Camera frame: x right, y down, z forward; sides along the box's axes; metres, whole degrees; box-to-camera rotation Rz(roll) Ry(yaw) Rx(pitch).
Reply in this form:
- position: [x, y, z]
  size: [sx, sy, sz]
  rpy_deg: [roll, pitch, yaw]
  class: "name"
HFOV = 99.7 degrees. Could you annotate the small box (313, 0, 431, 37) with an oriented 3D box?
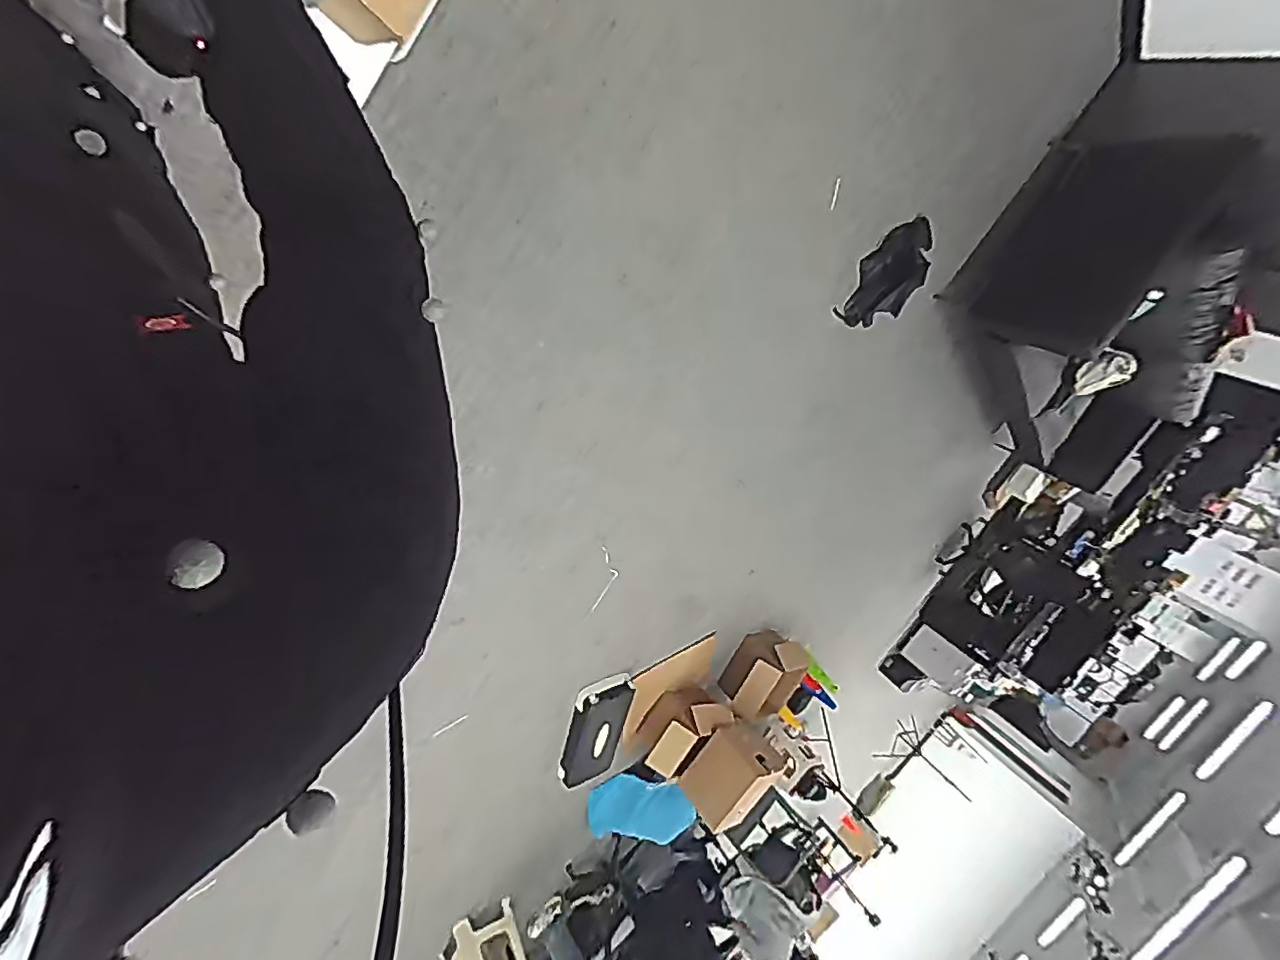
- position: [-0.239, -0.484, 0.414]
  size: [0.179, 0.176, 0.168]
  rpy_deg: [25, 104, -48]
  class: "small box"
